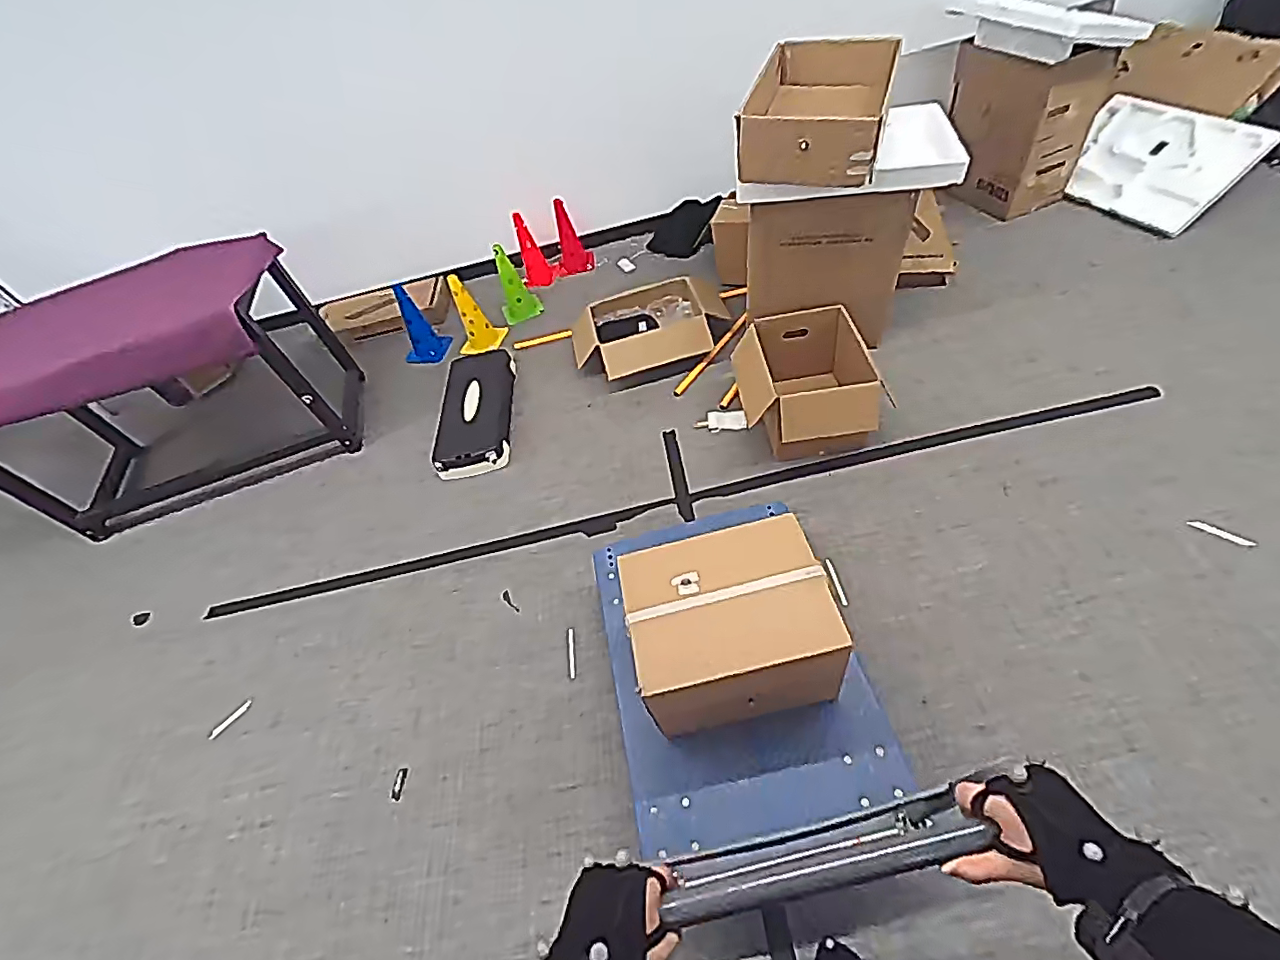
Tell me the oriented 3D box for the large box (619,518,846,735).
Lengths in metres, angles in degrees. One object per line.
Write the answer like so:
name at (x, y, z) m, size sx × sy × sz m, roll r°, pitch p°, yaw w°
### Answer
large box at (0.201, 0.339, 1.226) m, size 0.408 × 0.320 × 0.320 m, roll -15°, pitch 49°, yaw 3°
